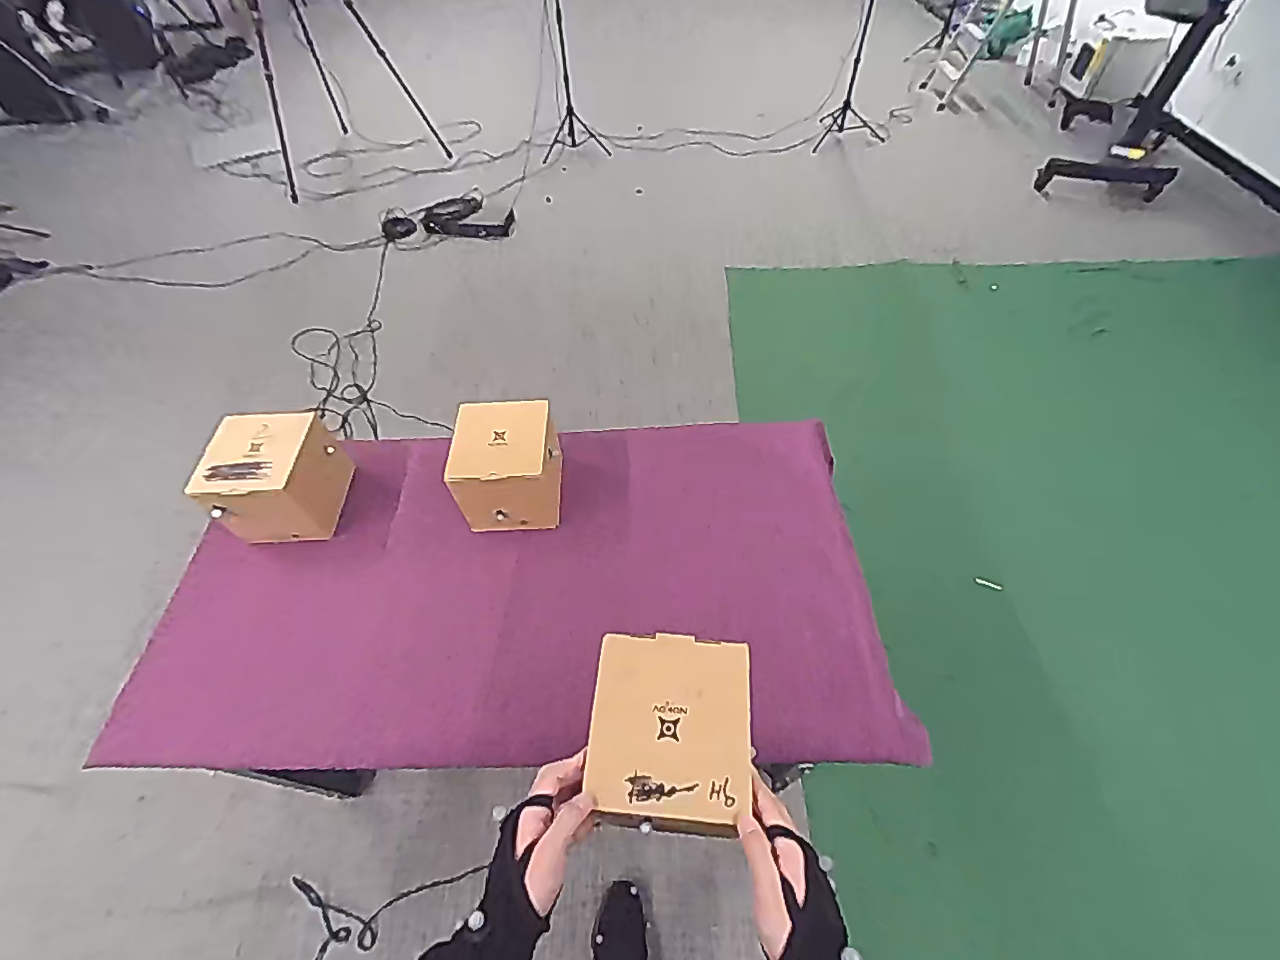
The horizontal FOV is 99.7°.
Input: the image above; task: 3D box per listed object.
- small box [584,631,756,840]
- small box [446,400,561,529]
[{"bbox_3d":[0.040,0.293,0.617,0.168,0.176,0.179,3,54,7],"label":"small box"},{"bbox_3d":[-0.240,-0.027,0.998,0.168,0.176,0.179,-2,55,-1],"label":"small box"}]
